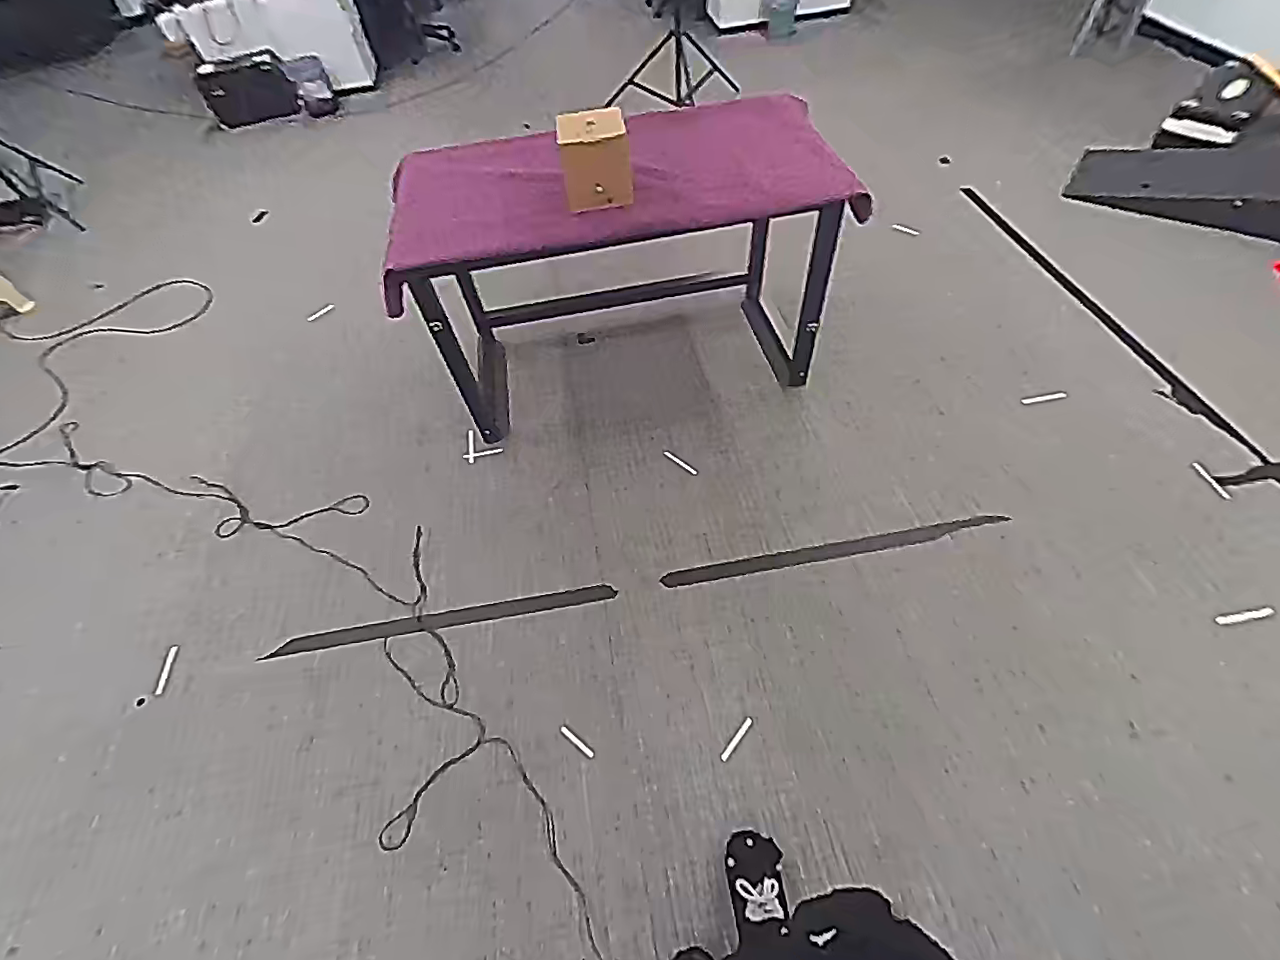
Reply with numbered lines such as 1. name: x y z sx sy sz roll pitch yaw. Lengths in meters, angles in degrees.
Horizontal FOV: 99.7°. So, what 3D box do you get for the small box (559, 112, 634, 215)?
1. small box: -0.112 -0.812 1.392 0.168 0.176 0.179 -9 54 0
